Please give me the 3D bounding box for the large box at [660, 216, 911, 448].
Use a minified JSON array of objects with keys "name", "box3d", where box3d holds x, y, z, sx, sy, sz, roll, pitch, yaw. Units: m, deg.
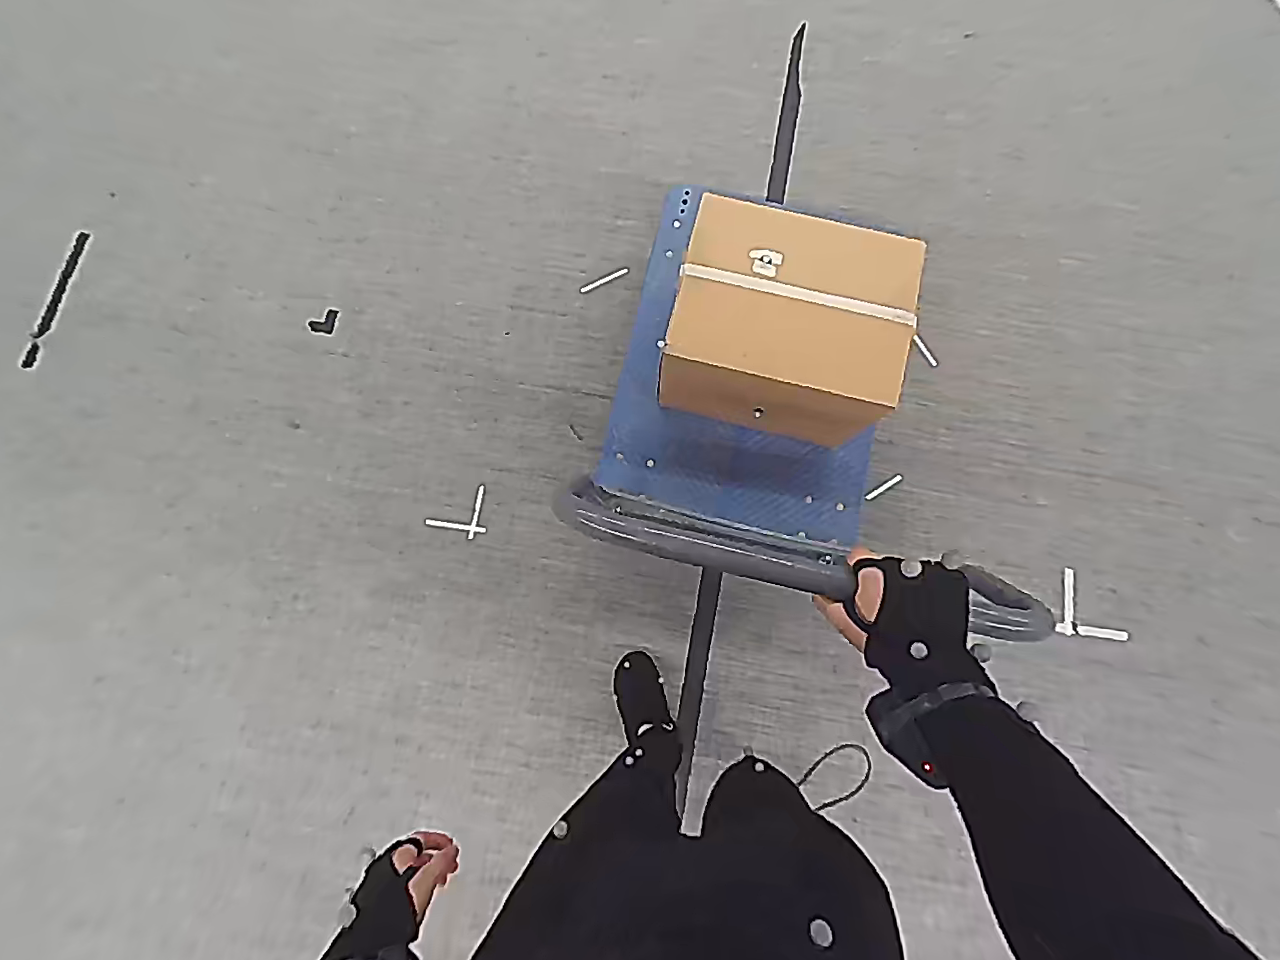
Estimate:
[{"name":"large box","box3d":[0.268,-0.277,1.106,0.408,0.320,0.320,13,80,3]}]
